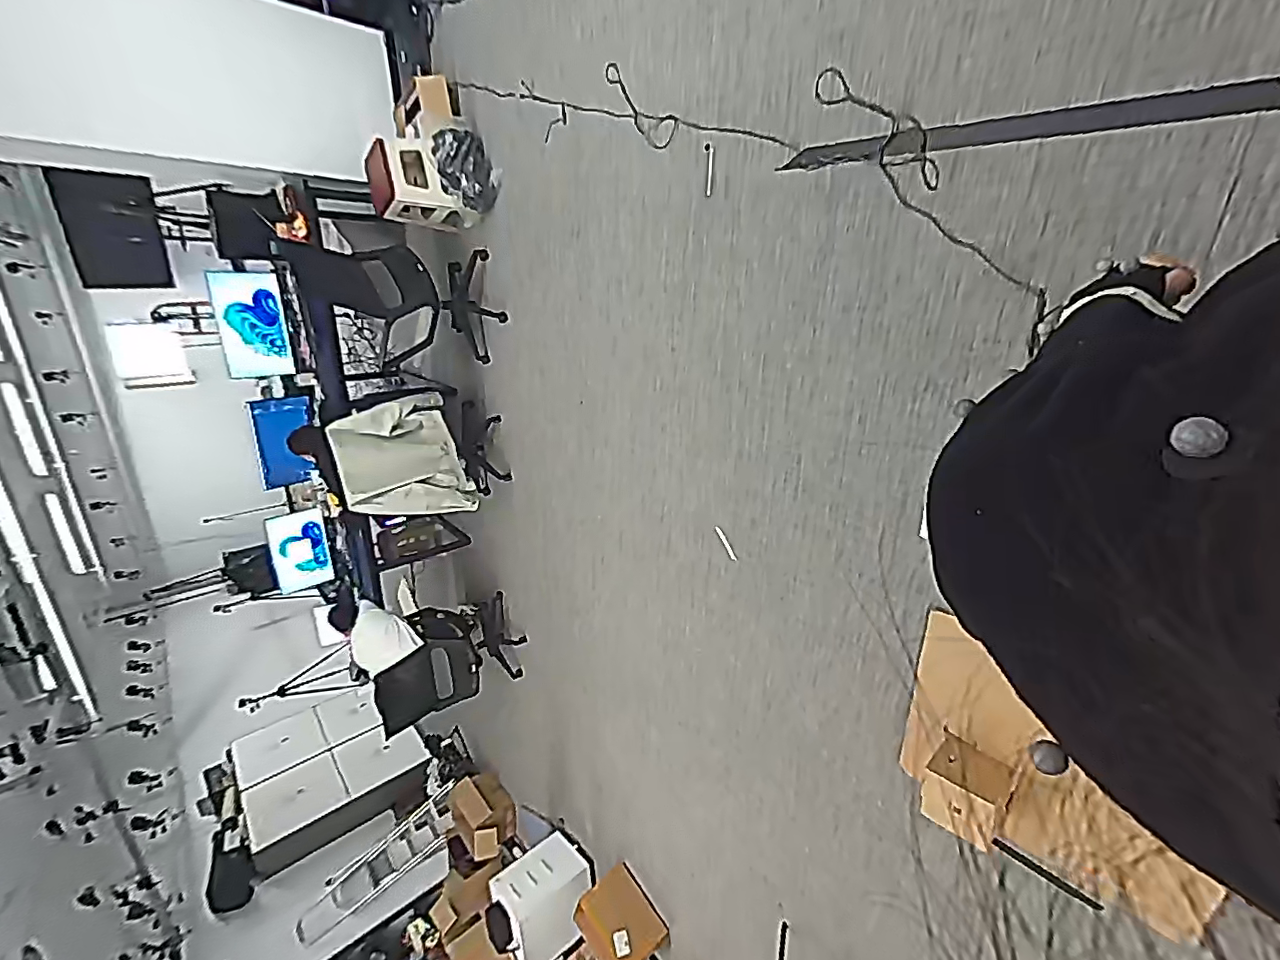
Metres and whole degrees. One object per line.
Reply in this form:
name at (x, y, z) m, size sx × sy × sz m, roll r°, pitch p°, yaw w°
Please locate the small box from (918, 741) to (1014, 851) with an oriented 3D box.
small box at (0.908, 0.867, 1.508) m, size 0.179 × 0.176 × 0.168 m, roll 15°, pitch 115°, yaw 46°
